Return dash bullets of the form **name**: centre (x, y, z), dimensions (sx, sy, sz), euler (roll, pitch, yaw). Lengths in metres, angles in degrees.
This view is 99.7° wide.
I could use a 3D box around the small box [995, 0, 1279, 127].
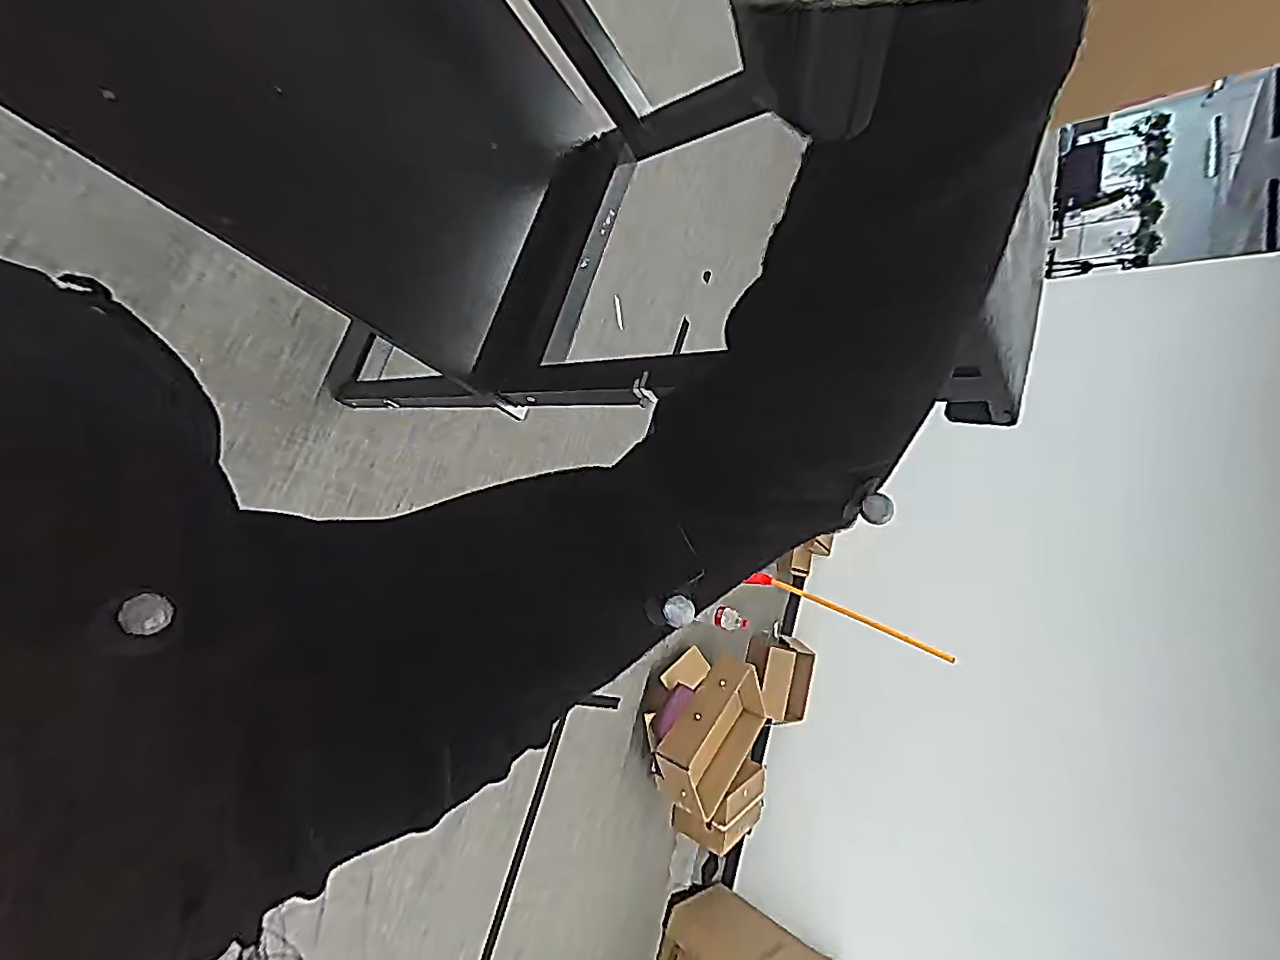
- **small box**: centre (0.260, -0.304, 0.236), dimensions (0.168, 0.176, 0.179), euler (39, 64, -46)
